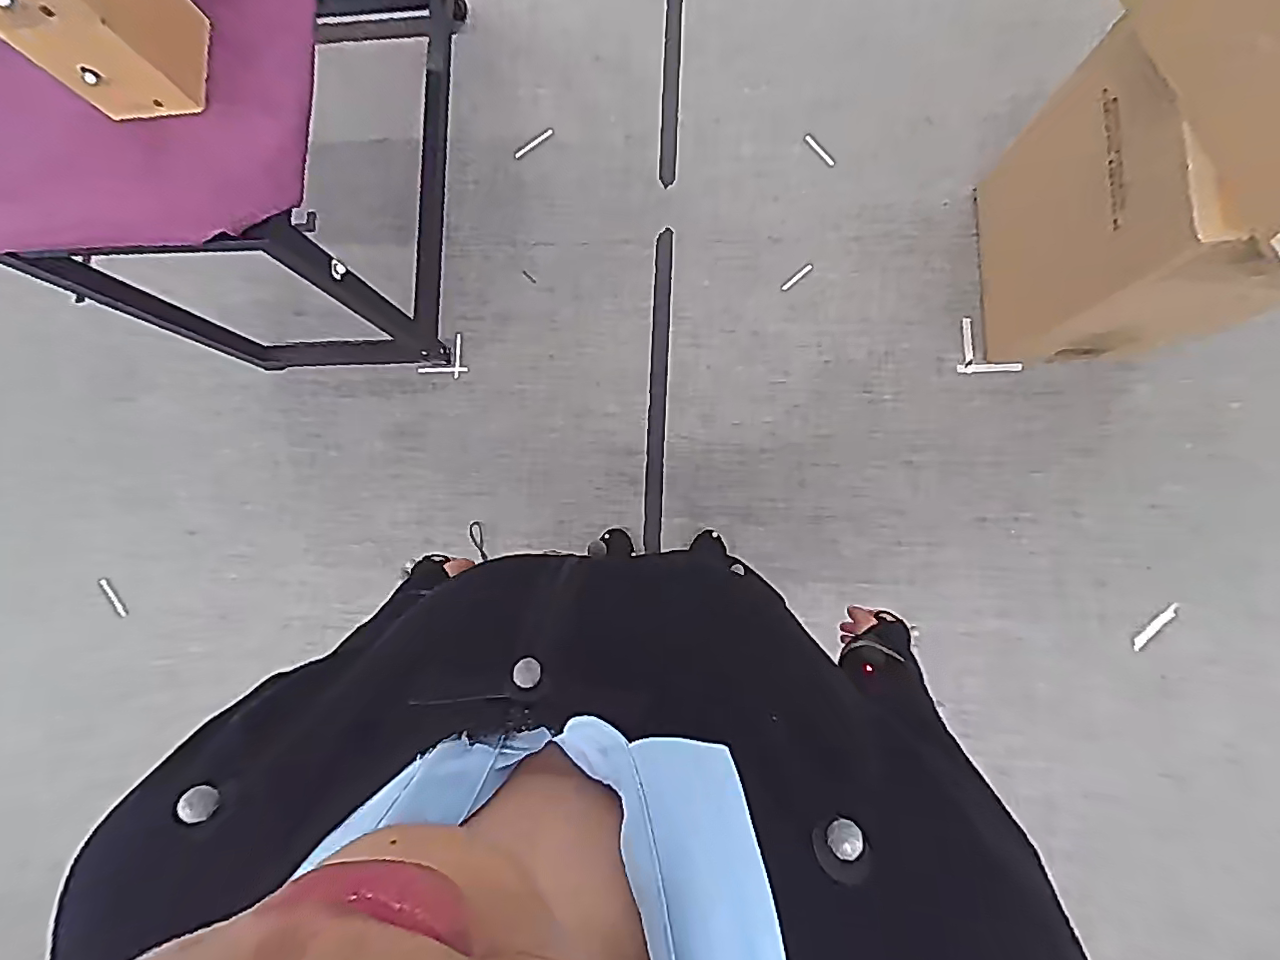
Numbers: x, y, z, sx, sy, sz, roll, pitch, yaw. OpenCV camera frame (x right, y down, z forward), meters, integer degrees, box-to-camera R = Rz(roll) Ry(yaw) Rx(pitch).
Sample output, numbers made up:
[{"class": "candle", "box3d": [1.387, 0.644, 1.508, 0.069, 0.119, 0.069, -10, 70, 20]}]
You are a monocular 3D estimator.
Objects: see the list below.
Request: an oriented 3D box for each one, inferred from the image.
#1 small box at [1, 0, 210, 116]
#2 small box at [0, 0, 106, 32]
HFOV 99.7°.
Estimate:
[{"class": "small box", "box3d": [-0.825, -0.709, 0.851, 0.168, 0.176, 0.179, -2, 83, 4]}, {"class": "small box", "box3d": [-0.832, -0.728, 0.688, 0.168, 0.176, 0.179, -2, 84, 4]}]
